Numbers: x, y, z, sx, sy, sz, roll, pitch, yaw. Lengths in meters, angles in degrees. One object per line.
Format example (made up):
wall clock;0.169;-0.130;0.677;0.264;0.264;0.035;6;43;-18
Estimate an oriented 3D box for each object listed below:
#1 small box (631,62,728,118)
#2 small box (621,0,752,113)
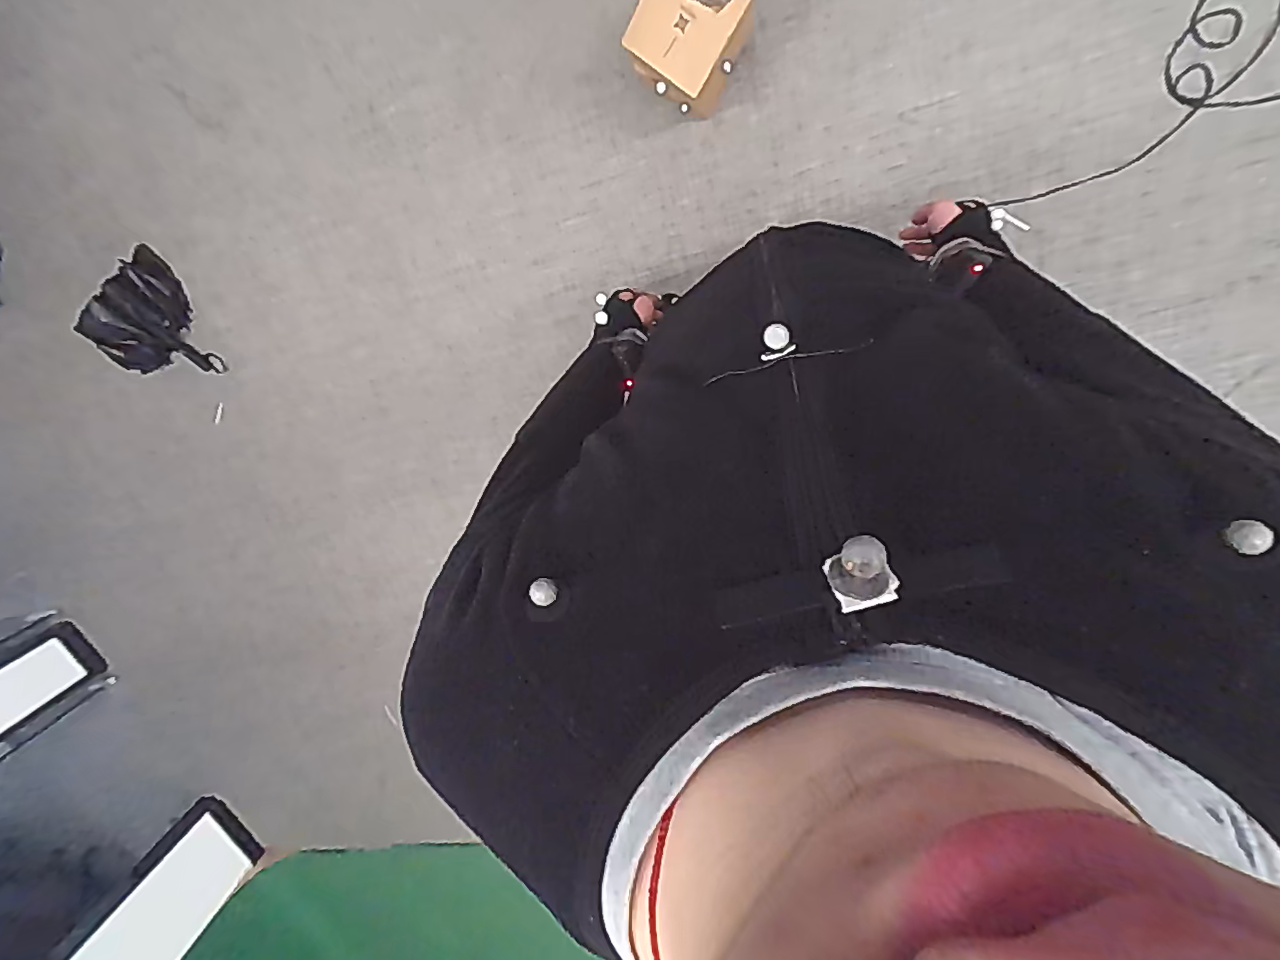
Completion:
small box;0.103;-0.909;1.152;0.168;0.176;0.179;27;116;-3
small box;0.089;-0.829;1.008;0.168;0.176;0.179;34;118;-6
